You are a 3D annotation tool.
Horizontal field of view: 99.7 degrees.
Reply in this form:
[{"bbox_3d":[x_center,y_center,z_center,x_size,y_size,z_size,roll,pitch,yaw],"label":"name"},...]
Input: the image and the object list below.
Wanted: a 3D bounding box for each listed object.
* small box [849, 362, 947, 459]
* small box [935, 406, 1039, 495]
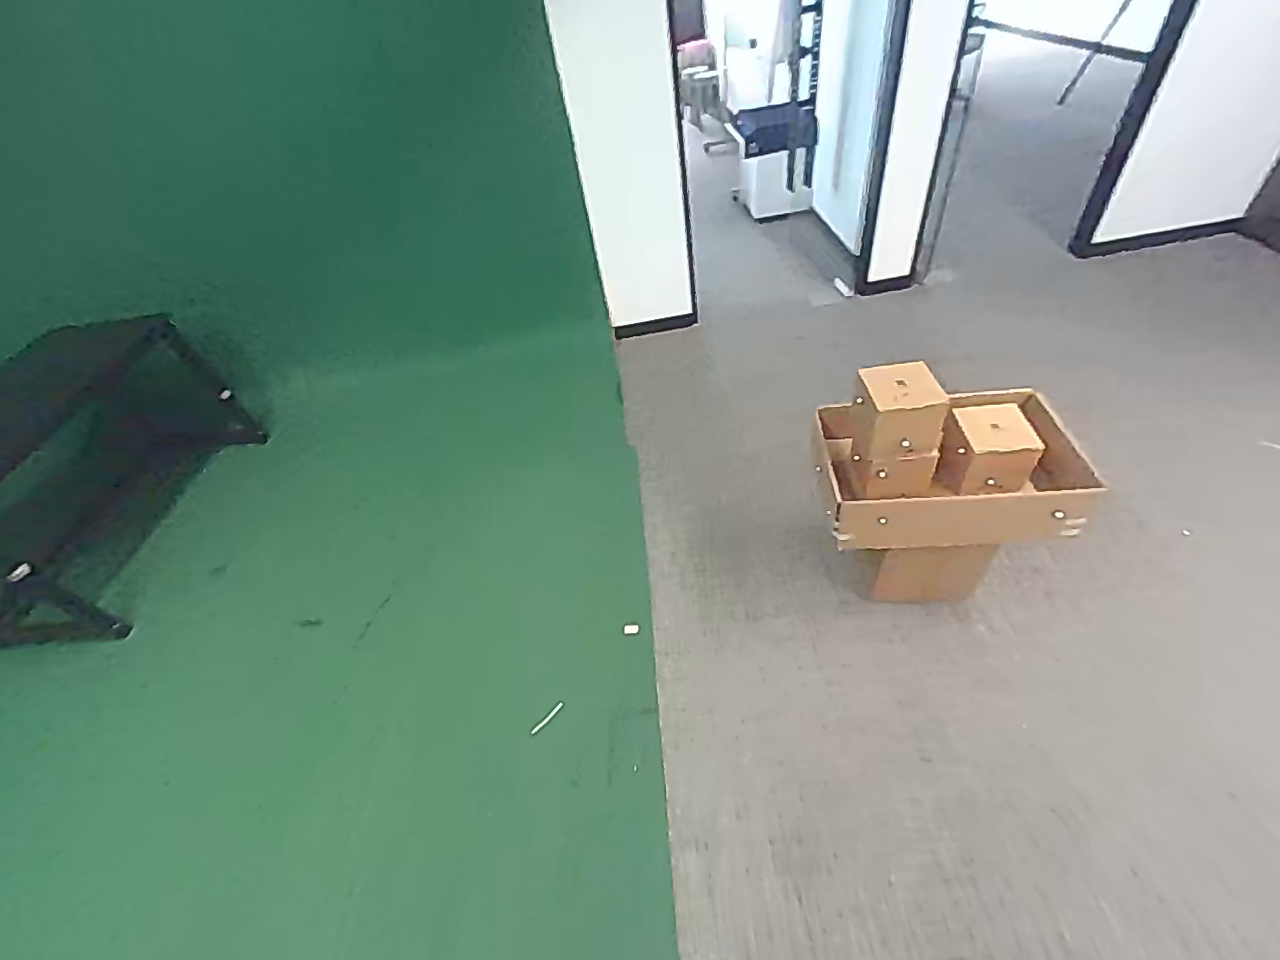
[{"bbox_3d":[0.649,-0.177,1.388,0.168,0.176,0.179,-6,47,5],"label":"small box"},{"bbox_3d":[0.933,-0.080,1.477,0.168,0.176,0.179,-4,48,7],"label":"small box"}]
